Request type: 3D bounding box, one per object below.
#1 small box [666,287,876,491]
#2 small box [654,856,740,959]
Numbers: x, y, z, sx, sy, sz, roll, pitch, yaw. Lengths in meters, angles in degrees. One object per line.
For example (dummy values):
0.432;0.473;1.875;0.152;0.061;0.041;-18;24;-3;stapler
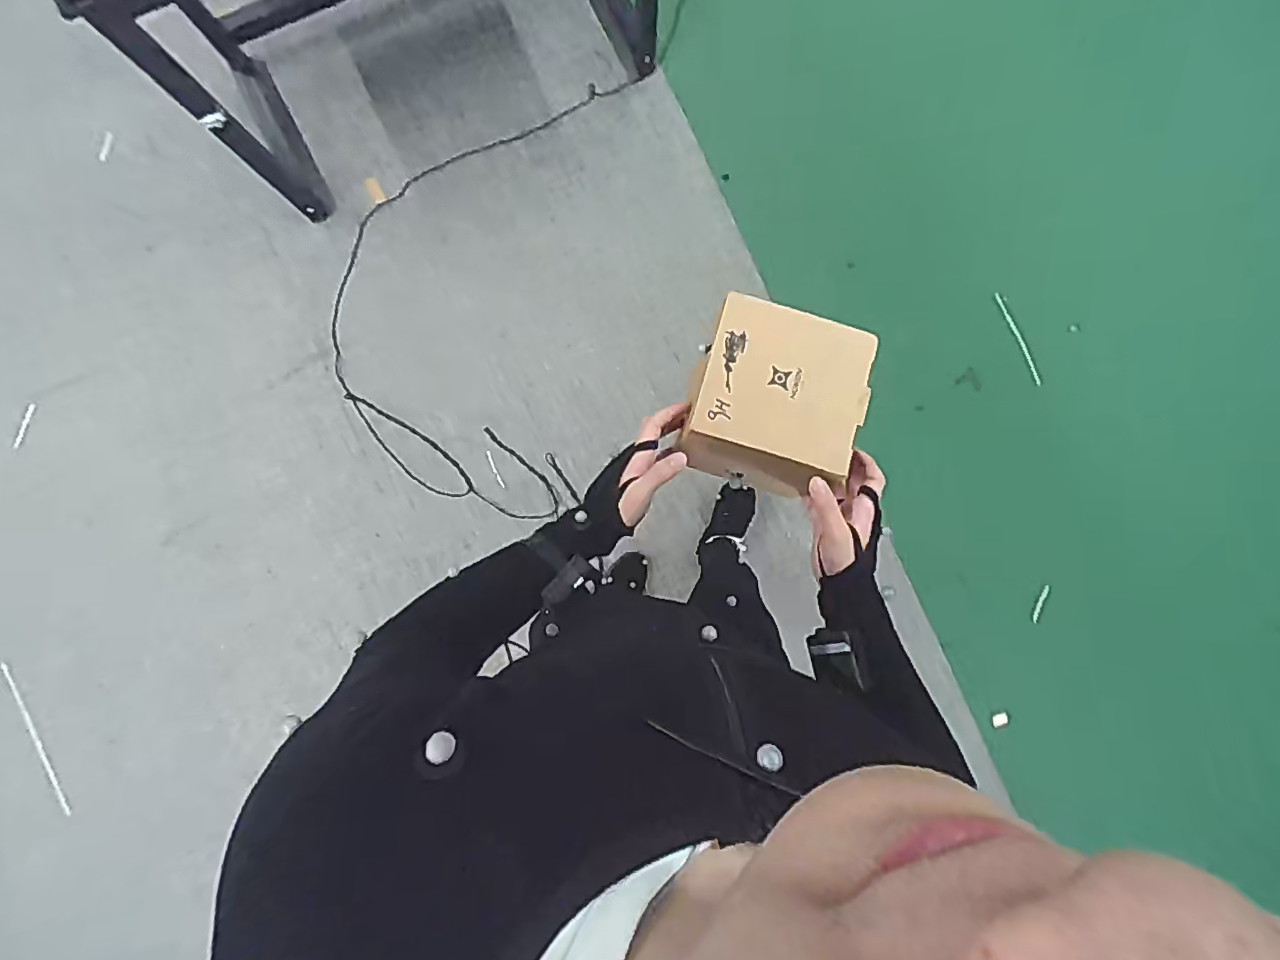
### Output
0.143;-0.092;0.644;0.179;0.176;0.168;17;78;-3;small box
0.143;1.140;1.430;0.168;0.176;0.179;-21;87;-3;small box
